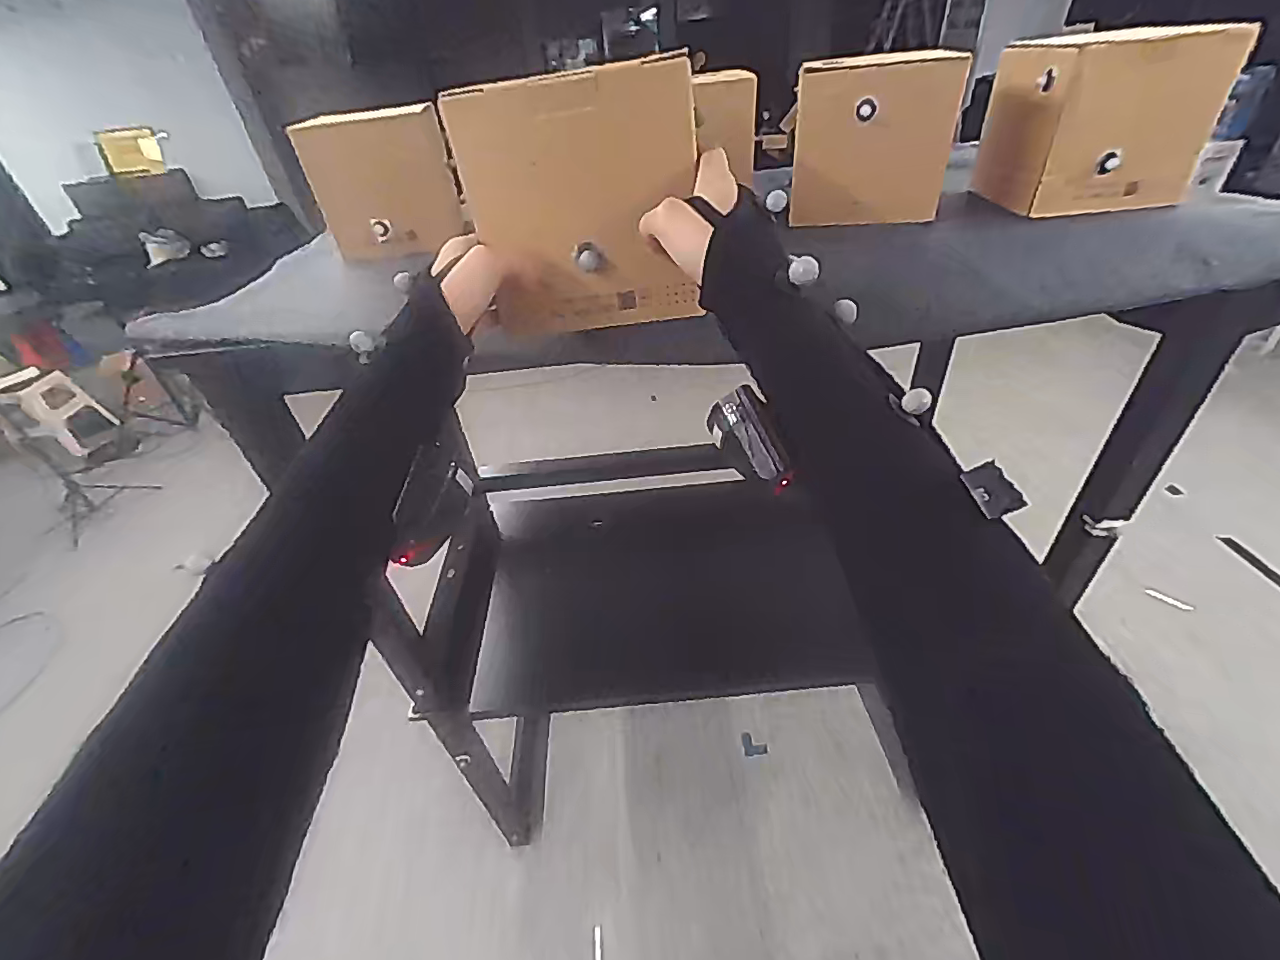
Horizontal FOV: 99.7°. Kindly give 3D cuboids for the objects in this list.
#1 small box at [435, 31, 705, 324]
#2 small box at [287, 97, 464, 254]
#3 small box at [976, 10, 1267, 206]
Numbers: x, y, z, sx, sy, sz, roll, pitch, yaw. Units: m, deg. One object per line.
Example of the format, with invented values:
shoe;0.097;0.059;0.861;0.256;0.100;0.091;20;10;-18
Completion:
small box;-0.037;-0.243;0.444;0.168;0.176;0.179;-6;37;6
small box;-0.363;-0.441;0.783;0.168;0.176;0.179;-12;39;-6
small box;0.538;-0.437;0.644;0.168;0.176;0.179;-3;39;6
